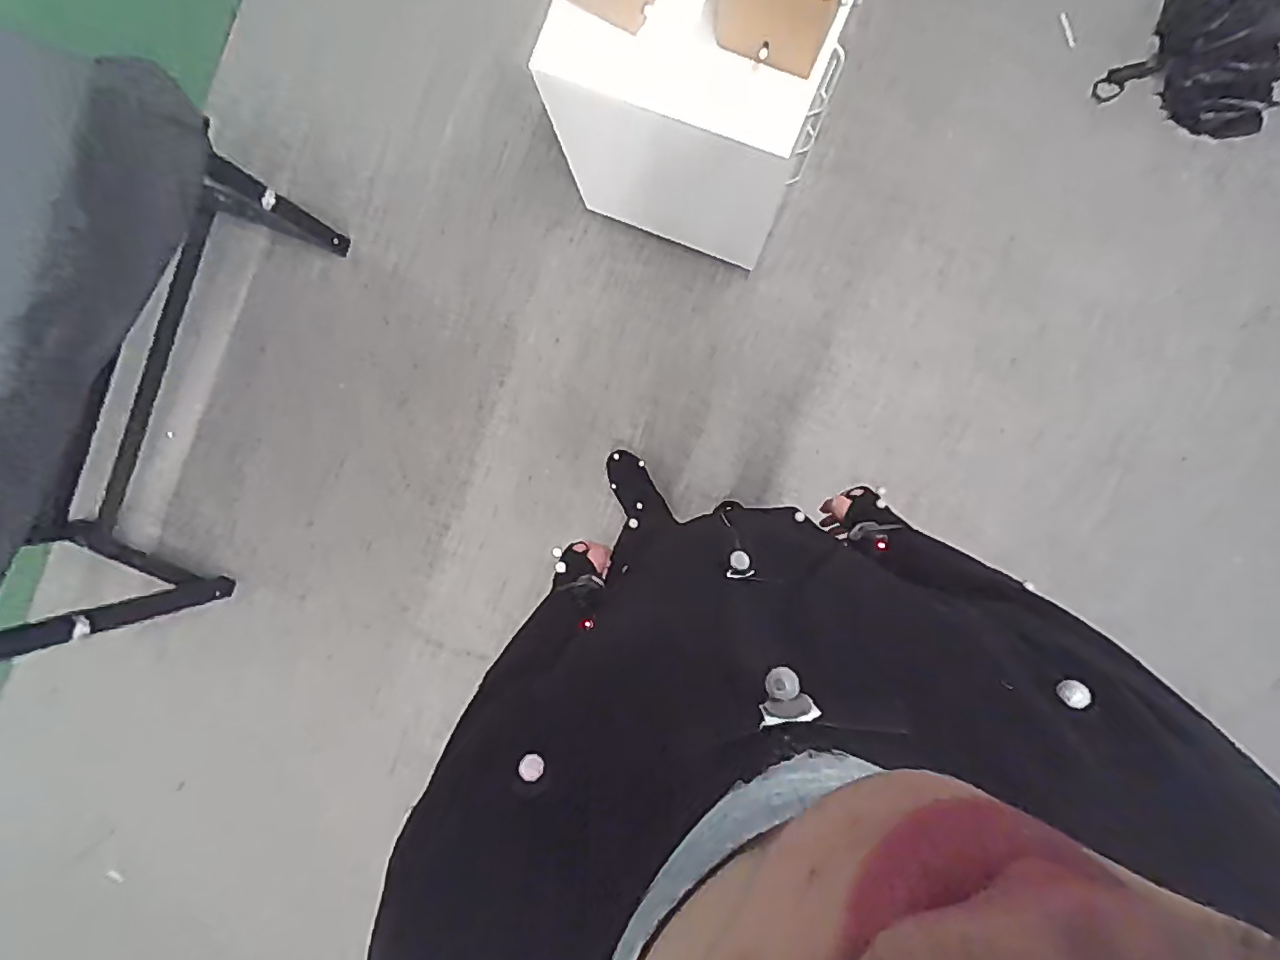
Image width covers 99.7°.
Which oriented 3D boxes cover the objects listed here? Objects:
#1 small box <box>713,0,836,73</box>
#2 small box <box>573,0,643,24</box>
[{"bbox_3d":[0.229,-0.796,0.854,0.179,0.176,0.168,24,93,3],"label":"small box"},{"bbox_3d":[-0.055,-0.897,0.869,0.179,0.176,0.168,31,92,3],"label":"small box"}]
